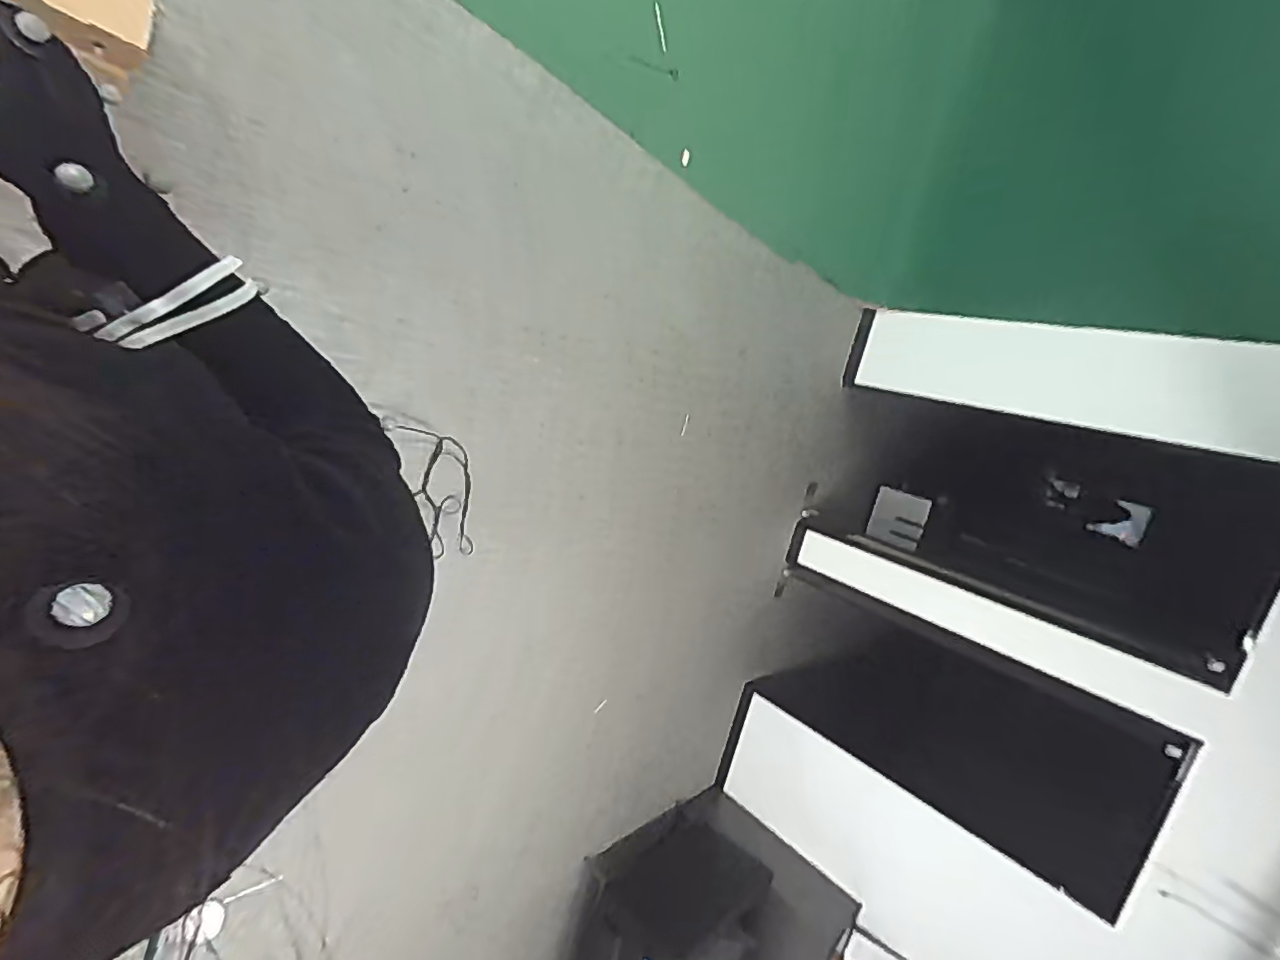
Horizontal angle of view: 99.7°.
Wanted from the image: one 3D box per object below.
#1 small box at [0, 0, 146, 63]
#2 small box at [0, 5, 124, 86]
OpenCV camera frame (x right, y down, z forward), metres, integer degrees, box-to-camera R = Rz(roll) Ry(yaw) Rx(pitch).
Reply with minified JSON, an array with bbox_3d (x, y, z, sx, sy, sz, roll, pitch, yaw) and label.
[{"bbox_3d":[-0.803,-0.731,0.753,0.168,0.176,0.179,7,102,-50],"label":"small box"},{"bbox_3d":[-0.921,-0.772,0.858,0.168,0.176,0.179,11,99,-49],"label":"small box"}]
